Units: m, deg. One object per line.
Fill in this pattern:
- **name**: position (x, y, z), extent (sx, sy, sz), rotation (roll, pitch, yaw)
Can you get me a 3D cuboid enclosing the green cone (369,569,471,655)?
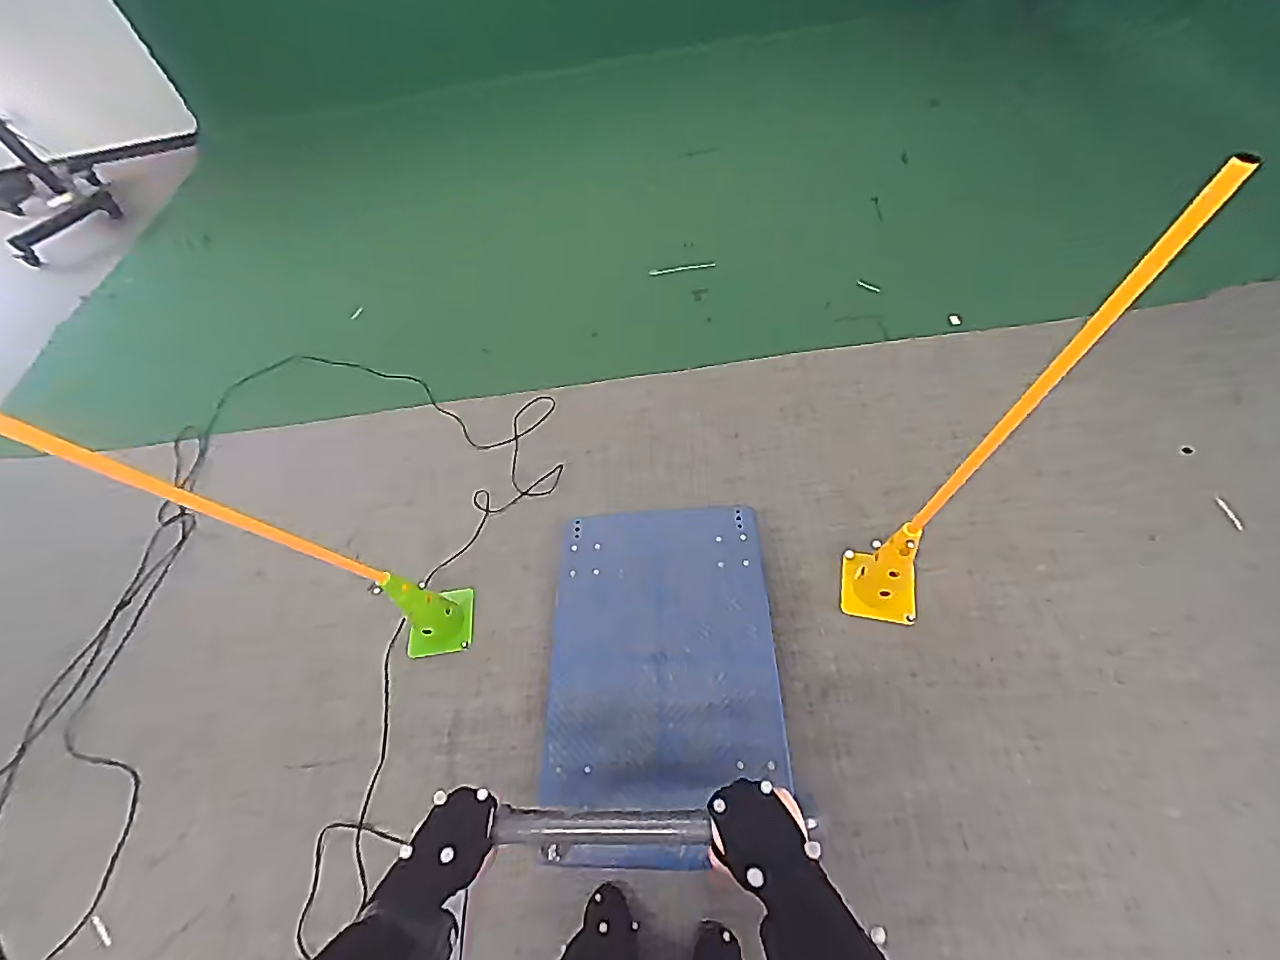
- **green cone**: position (-0.653, 0.342, 1.548), extent (0.202, 0.368, 0.200), rotation (-11, 56, 4)
